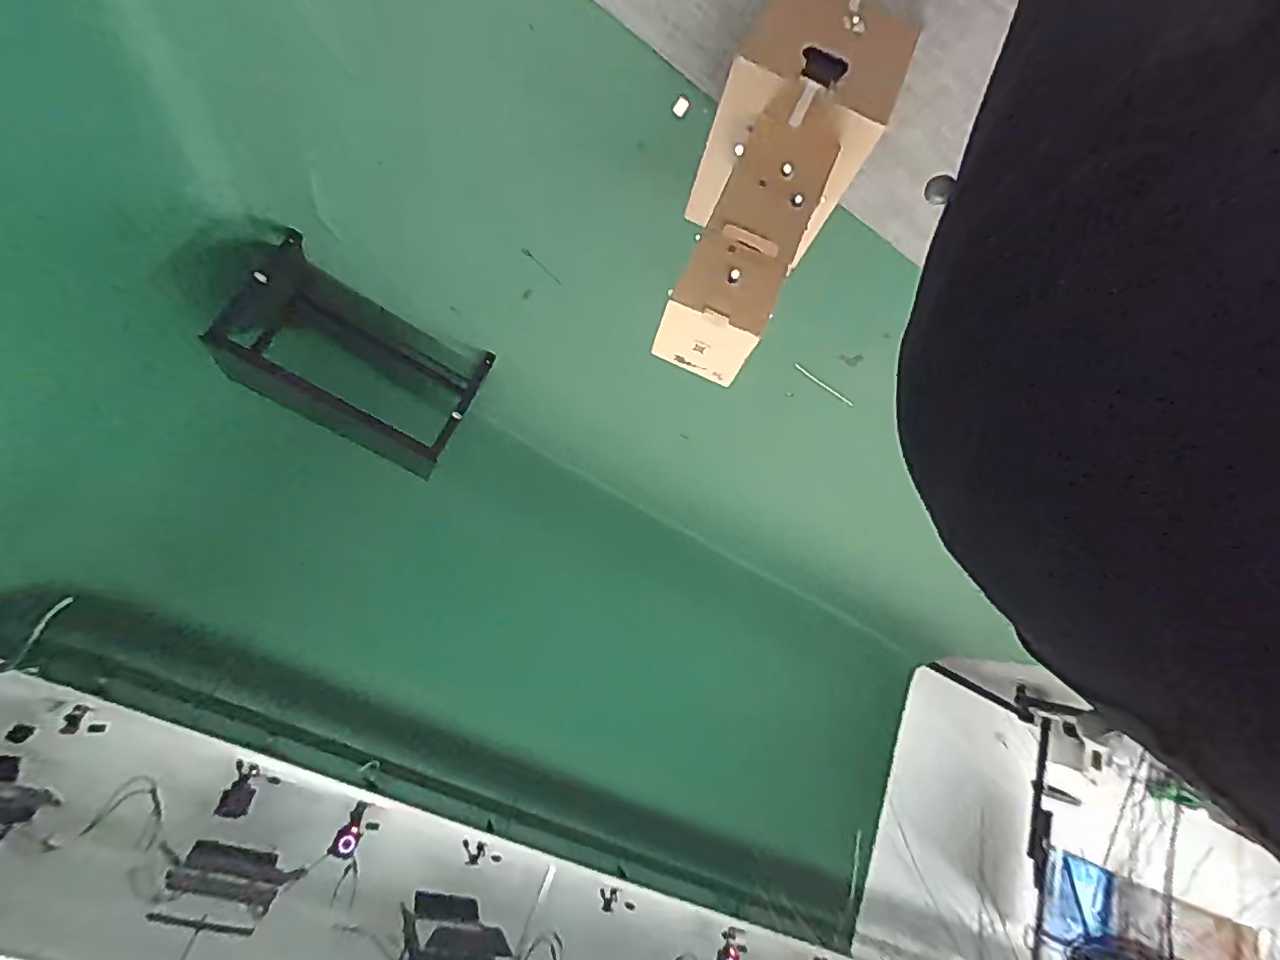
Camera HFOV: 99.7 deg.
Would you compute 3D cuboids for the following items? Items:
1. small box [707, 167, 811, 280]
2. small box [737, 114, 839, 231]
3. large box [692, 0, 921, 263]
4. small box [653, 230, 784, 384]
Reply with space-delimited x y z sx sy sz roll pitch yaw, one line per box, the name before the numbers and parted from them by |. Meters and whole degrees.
small box | 0.209 -0.453 1.037 0.168 0.176 0.179 24 160 -1
small box | 0.275 -0.591 1.096 0.179 0.176 0.168 25 160 -2
large box | 0.350 -0.793 1.218 0.320 0.320 0.408 26 161 0
small box | 0.143 -0.312 0.983 0.168 0.176 0.179 25 159 -1
